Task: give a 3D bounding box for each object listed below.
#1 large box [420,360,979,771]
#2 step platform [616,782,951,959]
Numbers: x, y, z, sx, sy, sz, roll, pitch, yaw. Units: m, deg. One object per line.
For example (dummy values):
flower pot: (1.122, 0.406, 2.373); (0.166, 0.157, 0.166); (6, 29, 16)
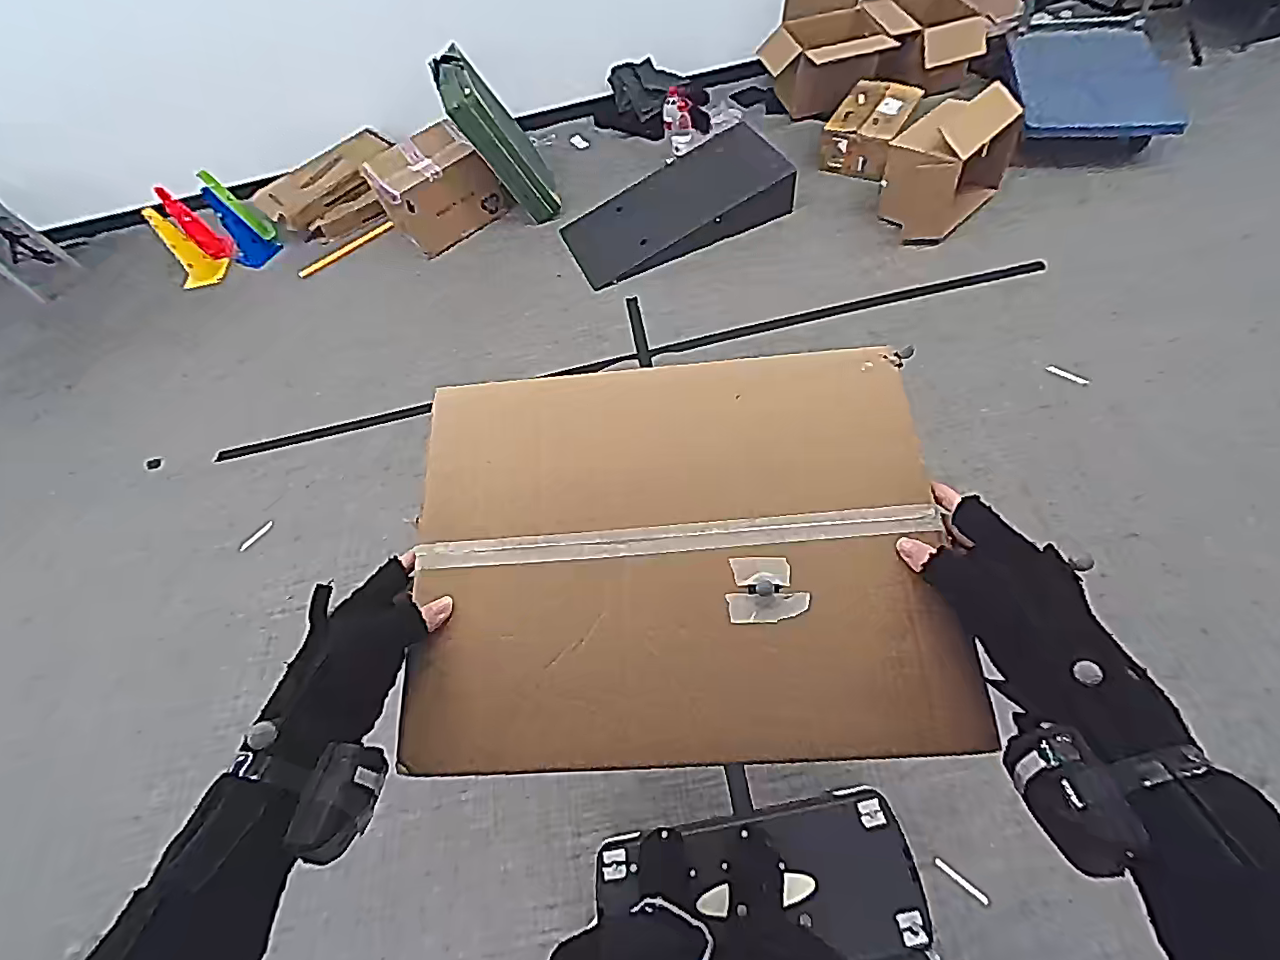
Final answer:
large box: (0.040, 0.107, 0.572); (0.408, 0.320, 0.320); (-4, 69, 4)
step platform: (0.290, 0.888, 1.190); (0.684, 0.204, 0.286); (-13, 59, 1)
